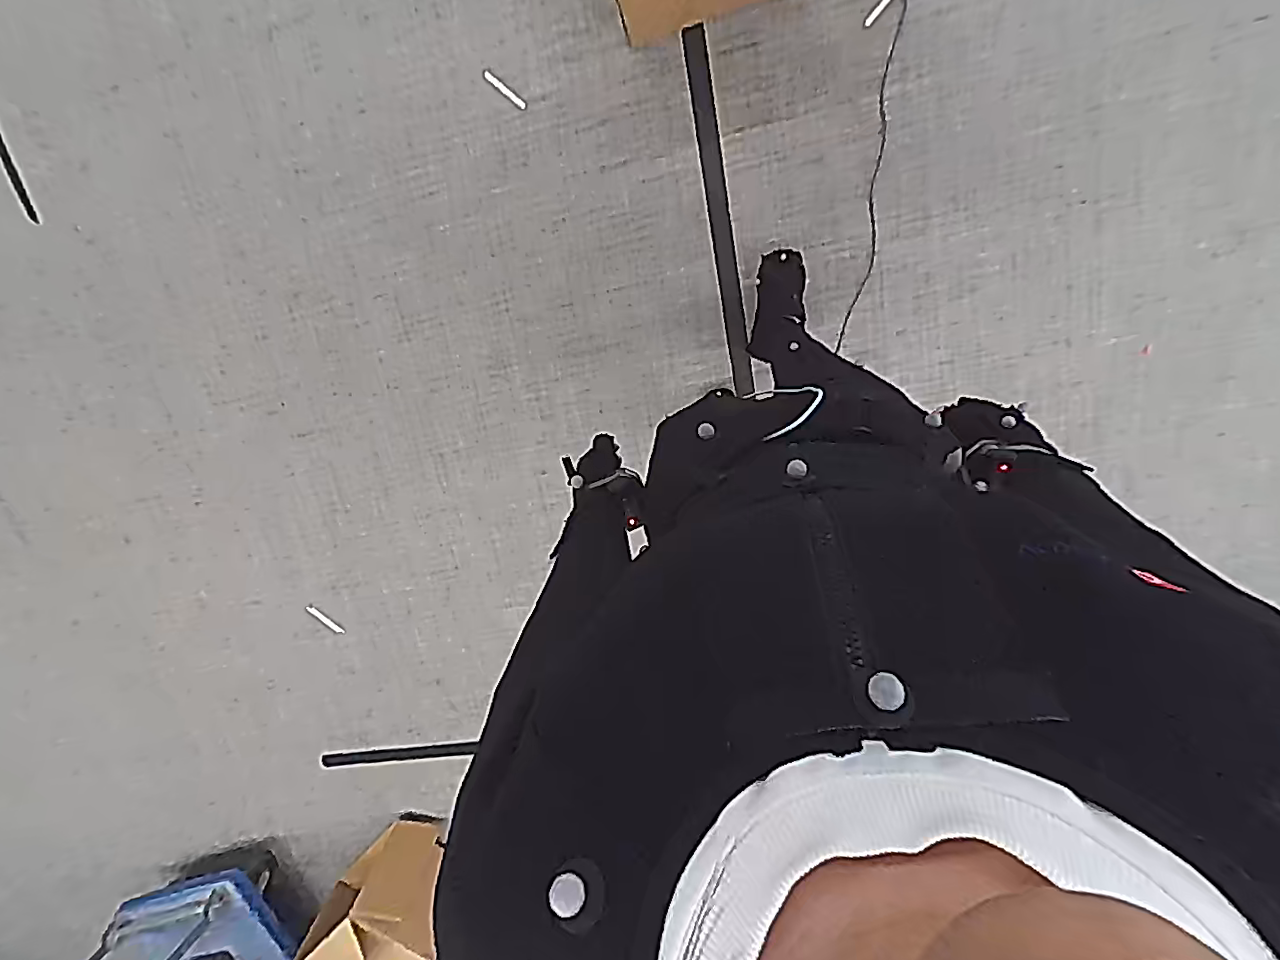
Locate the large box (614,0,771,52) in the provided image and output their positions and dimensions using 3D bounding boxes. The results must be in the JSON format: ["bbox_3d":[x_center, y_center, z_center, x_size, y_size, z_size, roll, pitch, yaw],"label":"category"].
[{"bbox_3d":[0.113,-1.111,1.012,0.408,0.320,0.320,-12,102,11],"label":"large box"}]
